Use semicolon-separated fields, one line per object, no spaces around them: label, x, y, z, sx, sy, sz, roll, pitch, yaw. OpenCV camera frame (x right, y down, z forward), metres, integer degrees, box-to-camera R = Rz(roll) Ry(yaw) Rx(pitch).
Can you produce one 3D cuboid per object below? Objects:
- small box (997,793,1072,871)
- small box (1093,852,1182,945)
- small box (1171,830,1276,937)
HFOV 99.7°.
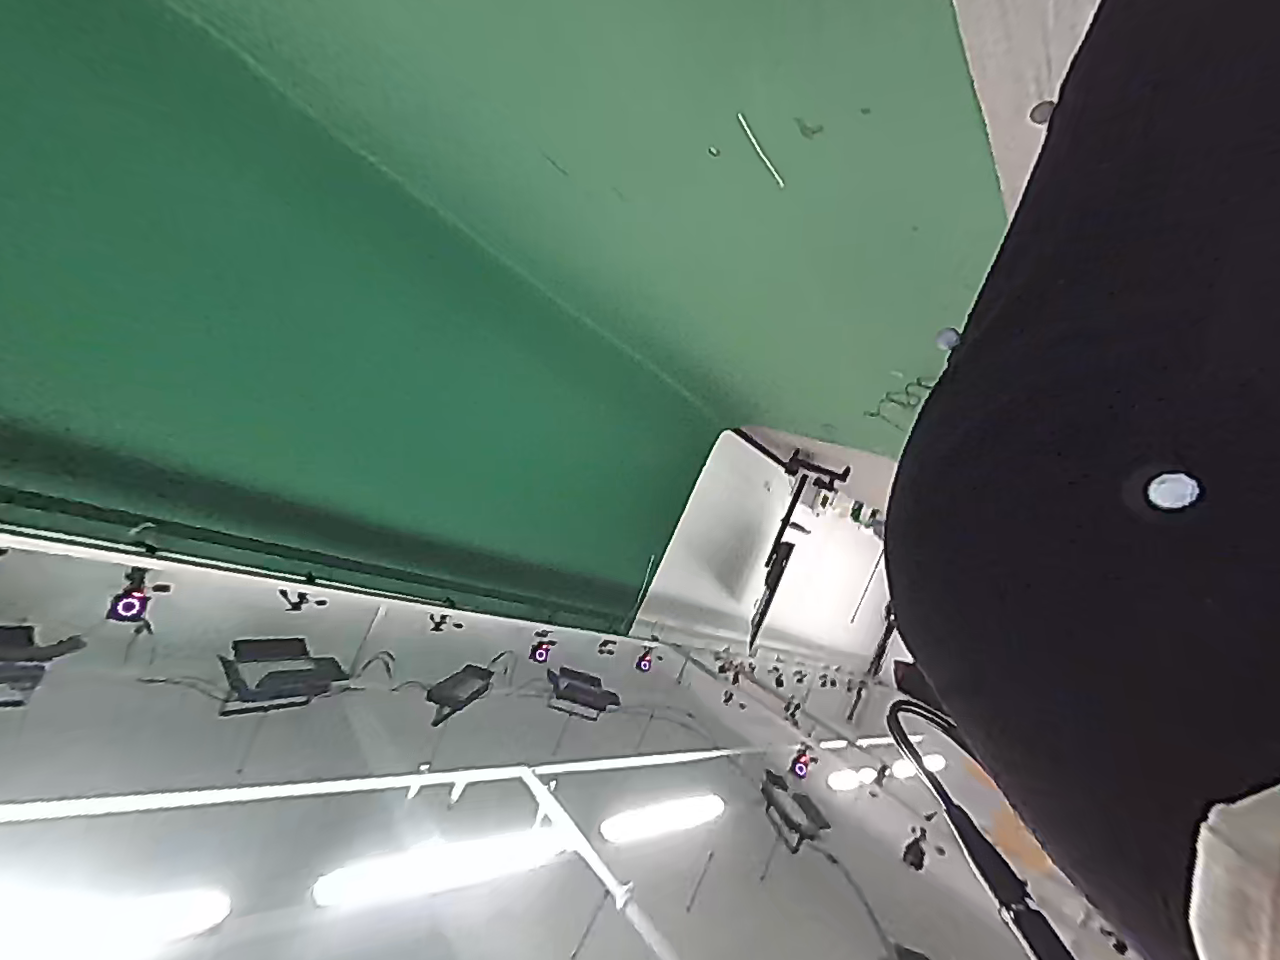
small box;1.383;1.213;1.886;0.179;0.176;0.168;25;178;-43
small box;1.554;1.286;1.692;0.168;0.176;0.179;24;180;45
small box;1.708;1.174;1.587;0.168;0.176;0.179;26;178;-41
